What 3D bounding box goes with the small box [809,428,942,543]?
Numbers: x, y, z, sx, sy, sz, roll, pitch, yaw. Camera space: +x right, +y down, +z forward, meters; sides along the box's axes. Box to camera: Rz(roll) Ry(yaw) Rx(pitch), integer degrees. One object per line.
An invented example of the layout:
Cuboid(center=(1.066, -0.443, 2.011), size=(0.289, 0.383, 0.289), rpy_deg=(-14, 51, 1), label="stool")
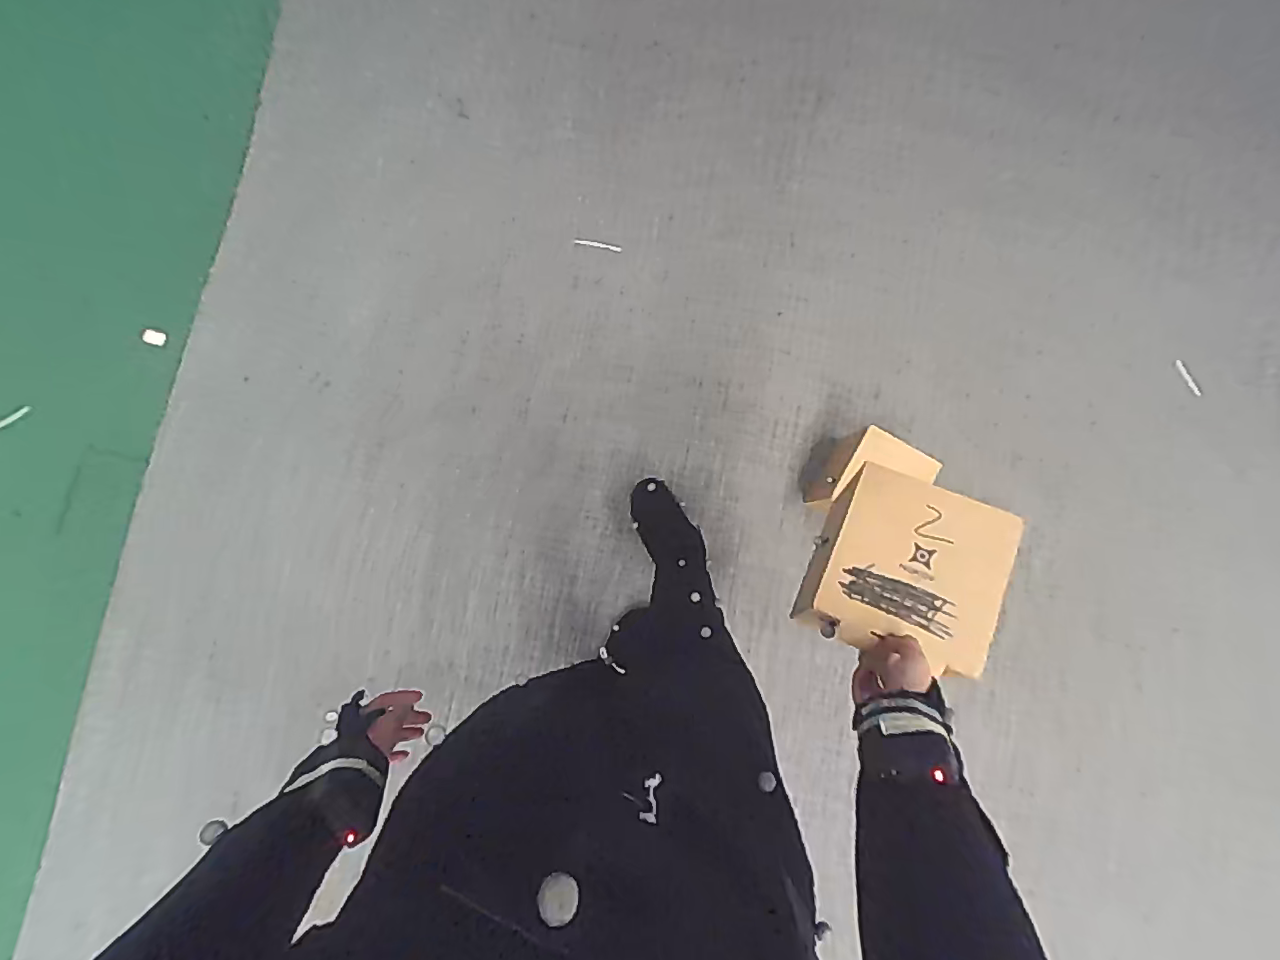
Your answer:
Cuboid(center=(0.485, 0.016, 1.143), size=(0.168, 0.176, 0.179), rpy_deg=(30, 85, 2), label="small box")
